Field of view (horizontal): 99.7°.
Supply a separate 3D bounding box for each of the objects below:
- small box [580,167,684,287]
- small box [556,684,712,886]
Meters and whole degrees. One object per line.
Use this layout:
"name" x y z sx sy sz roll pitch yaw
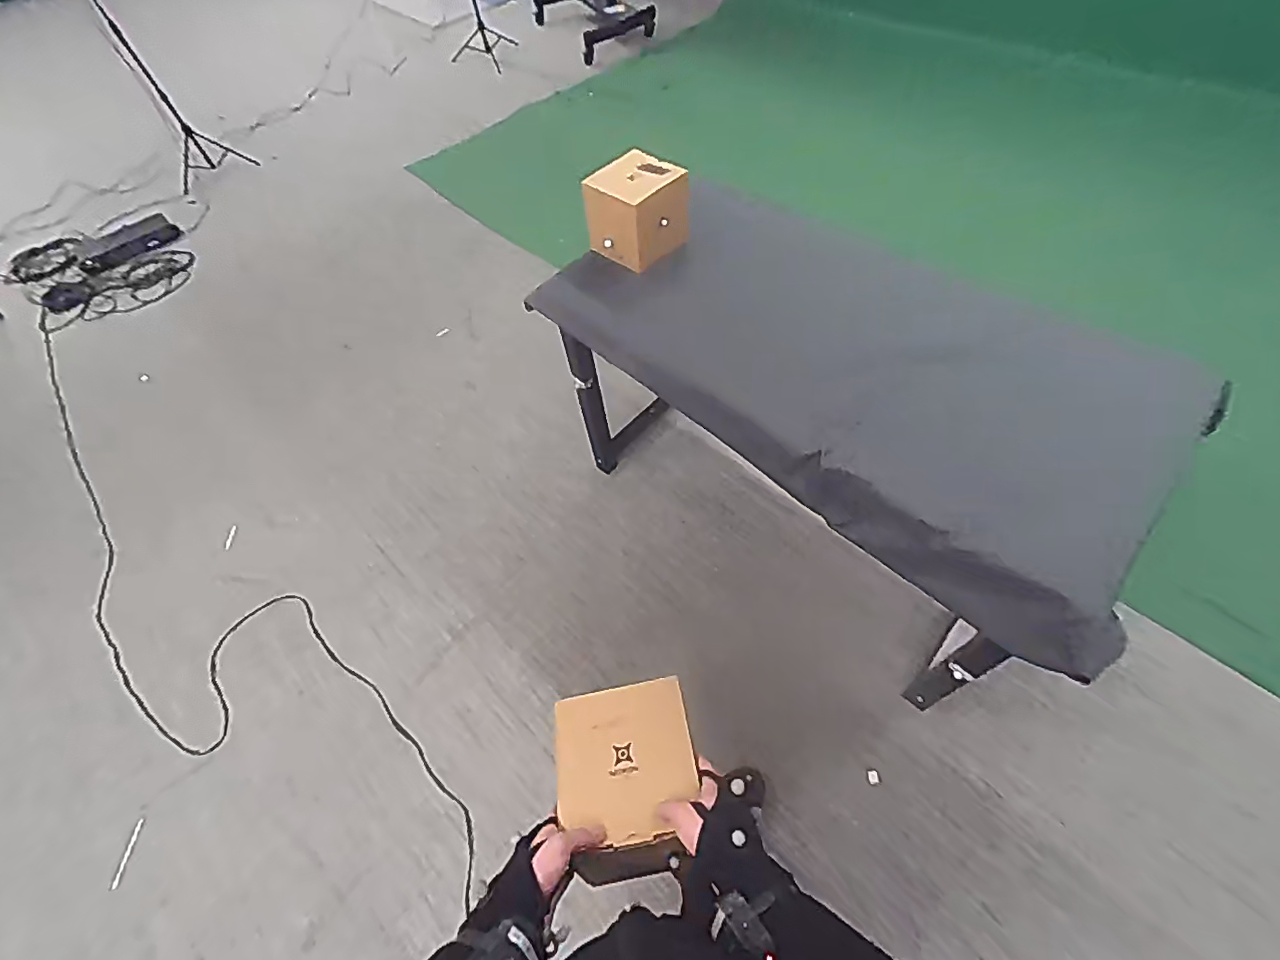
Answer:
"small box" -0.015 -0.589 1.263 0.168 0.176 0.179 36 66 25
"small box" -0.007 0.399 0.701 0.168 0.176 0.179 -12 42 -1
